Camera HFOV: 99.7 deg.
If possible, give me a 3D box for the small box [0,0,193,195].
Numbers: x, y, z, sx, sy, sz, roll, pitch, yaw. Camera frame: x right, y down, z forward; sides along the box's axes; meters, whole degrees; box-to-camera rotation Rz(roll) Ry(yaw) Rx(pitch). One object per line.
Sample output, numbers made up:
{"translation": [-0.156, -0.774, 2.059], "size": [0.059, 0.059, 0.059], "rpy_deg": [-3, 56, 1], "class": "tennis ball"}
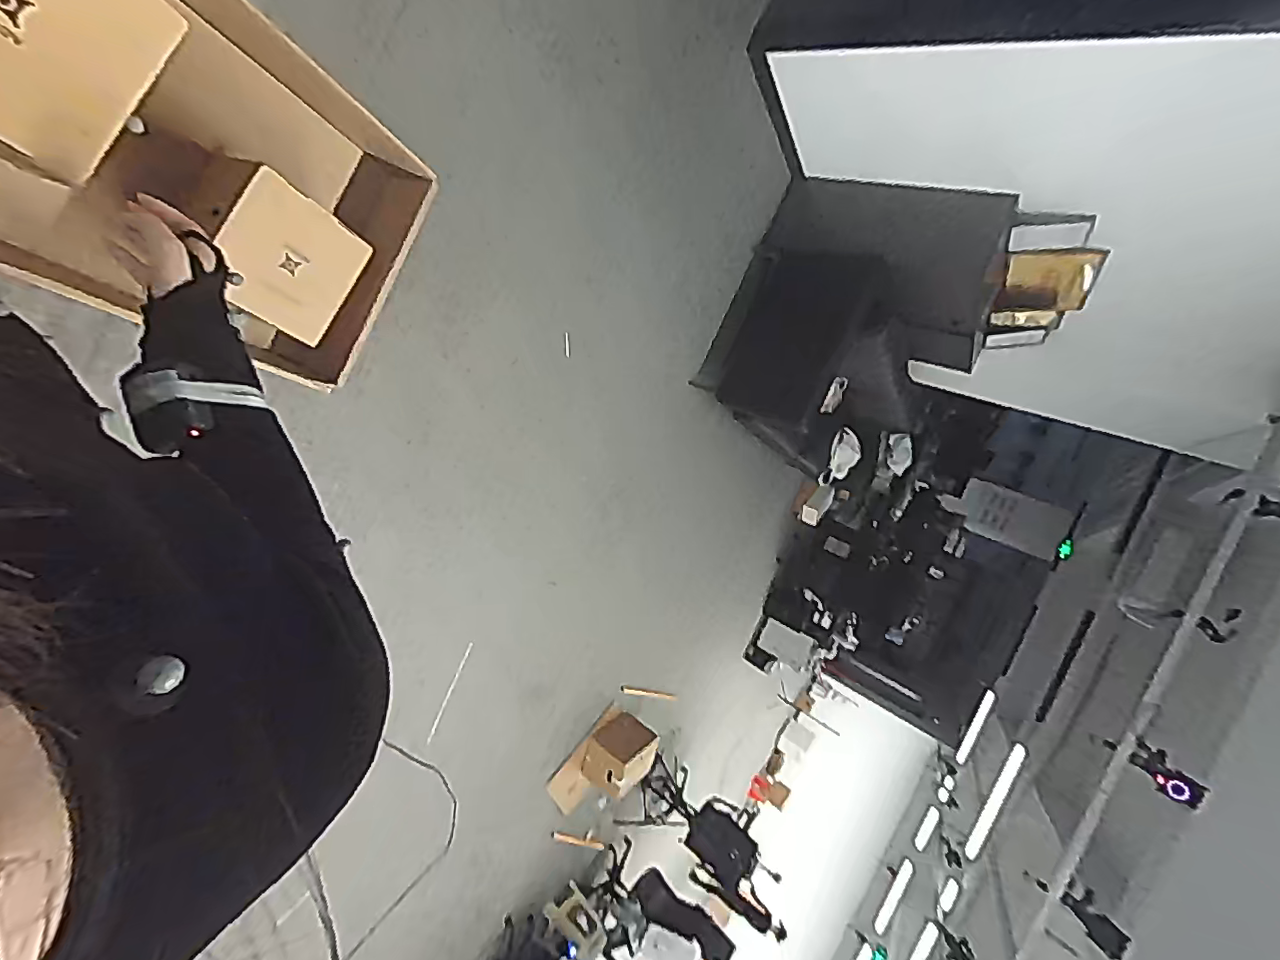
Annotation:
{"translation": [-0.523, -0.369, 0.435], "size": [0.179, 0.176, 0.168], "rpy_deg": [-62, 149, -5], "class": "small box"}
